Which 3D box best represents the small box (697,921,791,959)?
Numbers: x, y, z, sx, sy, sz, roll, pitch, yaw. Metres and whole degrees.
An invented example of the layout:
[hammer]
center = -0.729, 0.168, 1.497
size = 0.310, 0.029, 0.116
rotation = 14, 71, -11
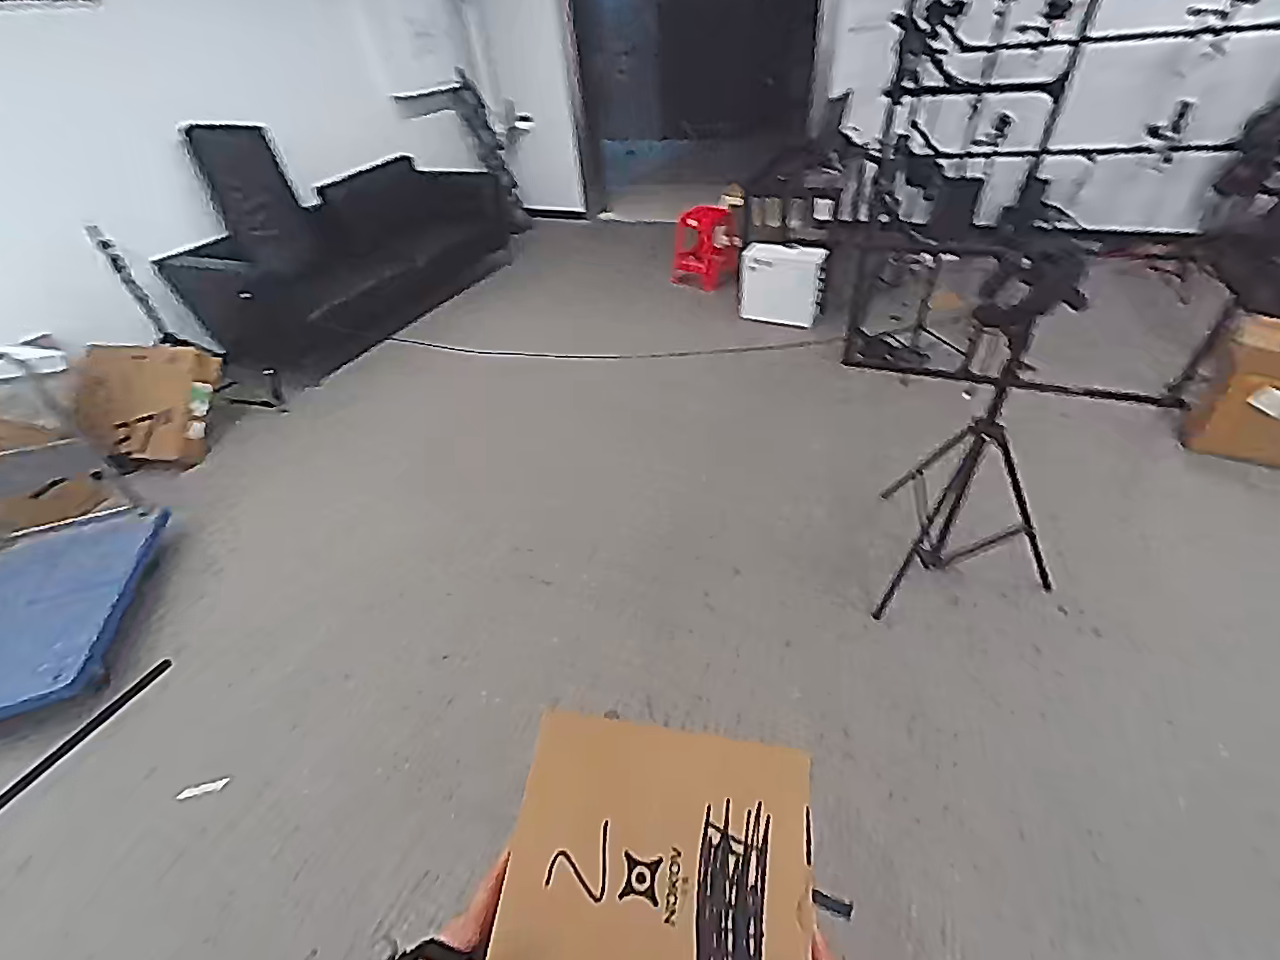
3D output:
[small box]
center = 0.163, 0.889, 0.899
size = 0.168, 0.176, 0.179
rotation = 11, 43, 20
